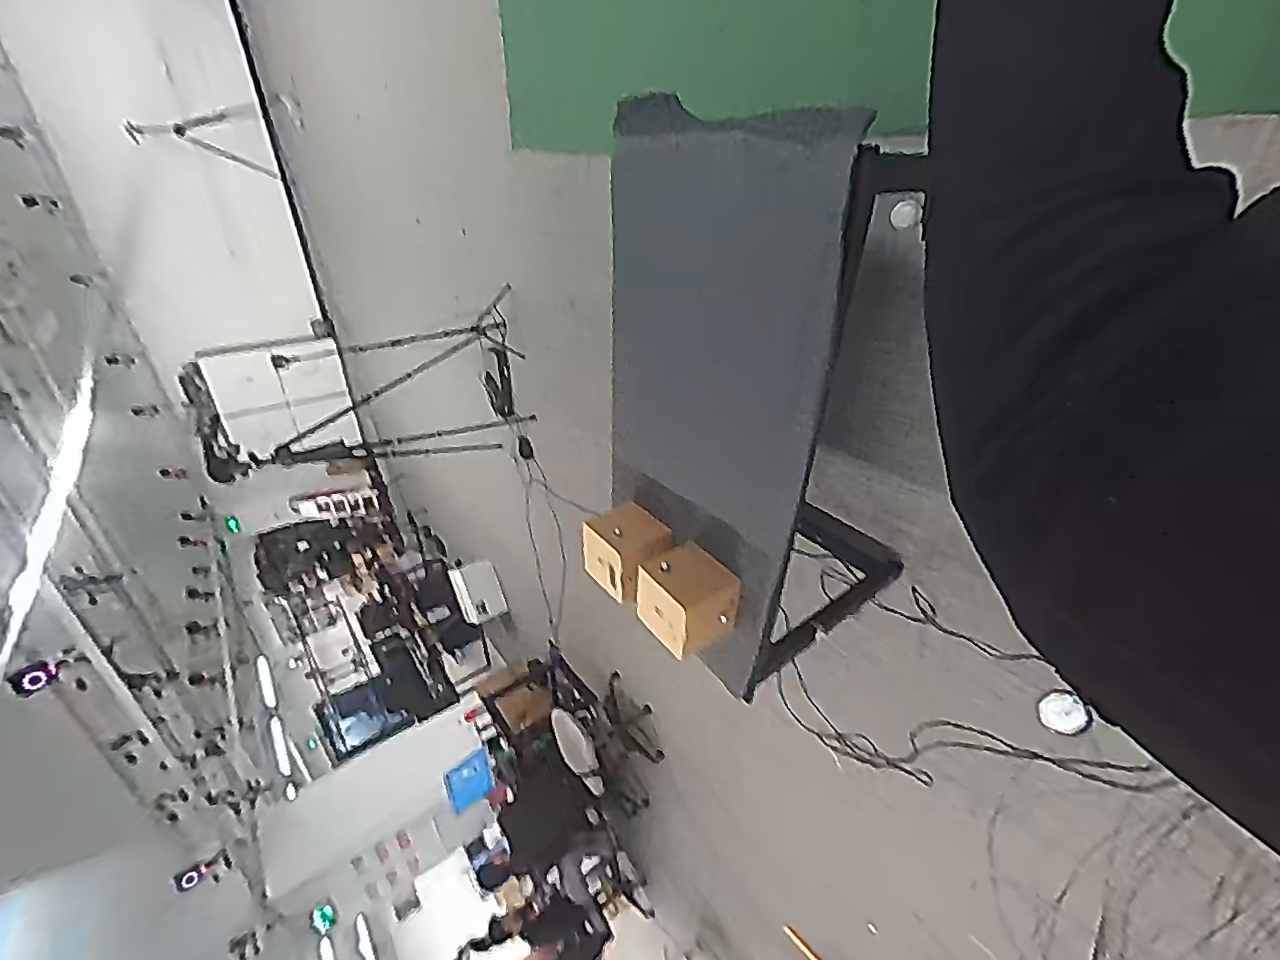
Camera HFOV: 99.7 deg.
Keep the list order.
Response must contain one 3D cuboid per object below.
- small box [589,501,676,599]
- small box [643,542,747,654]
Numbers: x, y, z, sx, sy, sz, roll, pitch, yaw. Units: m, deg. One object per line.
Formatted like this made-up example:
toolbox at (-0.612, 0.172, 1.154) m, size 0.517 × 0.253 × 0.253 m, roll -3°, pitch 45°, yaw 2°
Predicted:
small box at (-0.018, 0.179, 1.451) m, size 0.179 × 0.176 × 0.168 m, roll 34°, pitch 135°, yaw 42°
small box at (0.127, 0.269, 1.286) m, size 0.179 × 0.176 × 0.168 m, roll 36°, pitch 136°, yaw 42°
